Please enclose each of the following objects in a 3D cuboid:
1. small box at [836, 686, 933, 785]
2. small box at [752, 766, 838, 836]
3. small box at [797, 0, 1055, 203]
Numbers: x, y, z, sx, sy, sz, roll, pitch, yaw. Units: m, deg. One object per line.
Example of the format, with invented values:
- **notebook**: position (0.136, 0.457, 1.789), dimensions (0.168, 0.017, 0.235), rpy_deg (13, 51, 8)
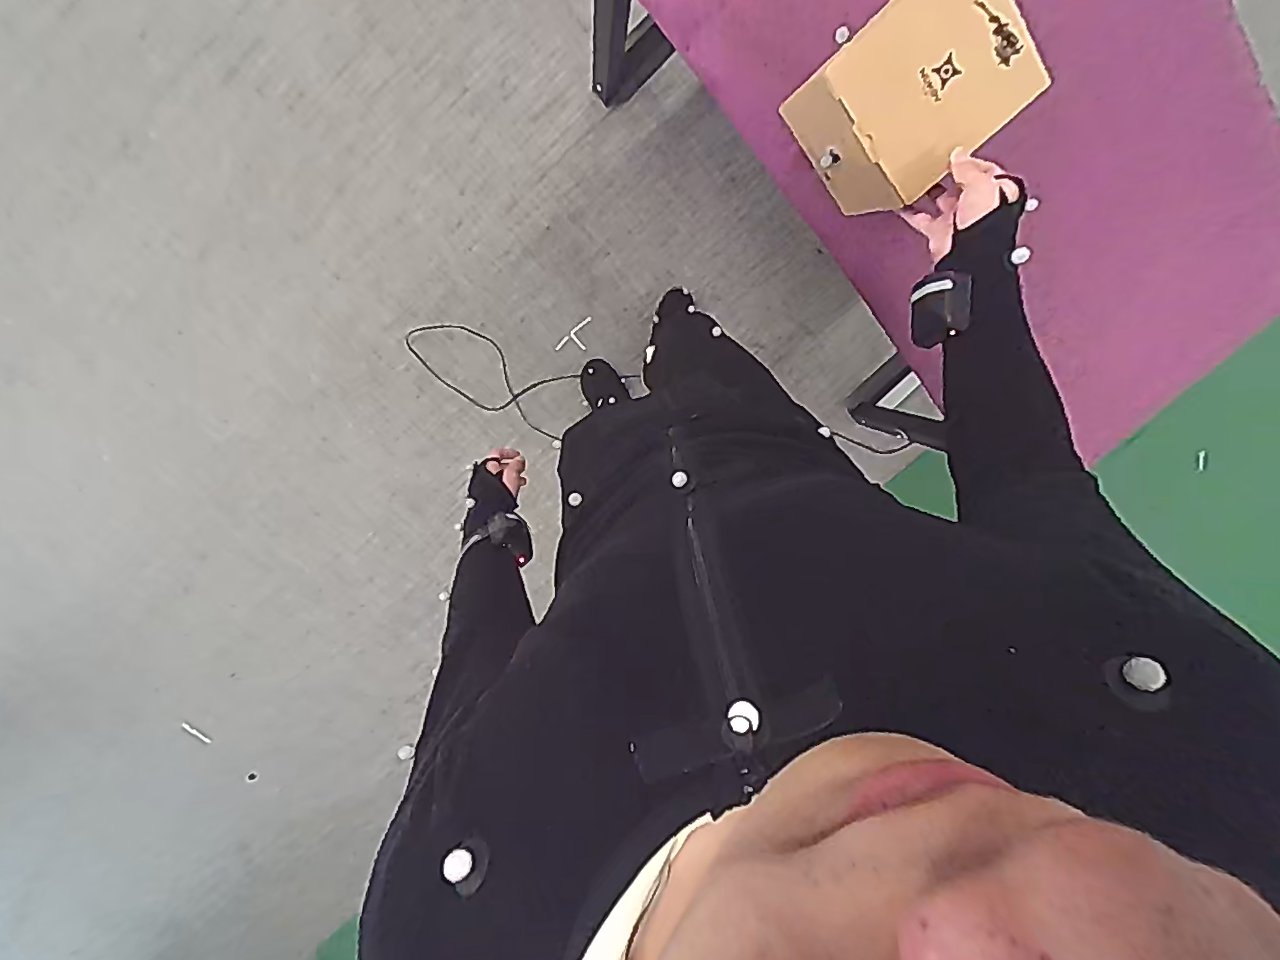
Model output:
- **small box**: position (0.741, 0.774, 1.656), dimensions (0.179, 0.176, 0.168), rpy_deg (-43, 105, 6)
- **small box**: position (0.479, 1.042, 1.703), dimensions (0.168, 0.176, 0.179), rpy_deg (-42, 104, 8)
- **small box**: position (0.298, -0.440, 0.609), dimensions (0.179, 0.176, 0.168), rpy_deg (-39, 109, 15)
